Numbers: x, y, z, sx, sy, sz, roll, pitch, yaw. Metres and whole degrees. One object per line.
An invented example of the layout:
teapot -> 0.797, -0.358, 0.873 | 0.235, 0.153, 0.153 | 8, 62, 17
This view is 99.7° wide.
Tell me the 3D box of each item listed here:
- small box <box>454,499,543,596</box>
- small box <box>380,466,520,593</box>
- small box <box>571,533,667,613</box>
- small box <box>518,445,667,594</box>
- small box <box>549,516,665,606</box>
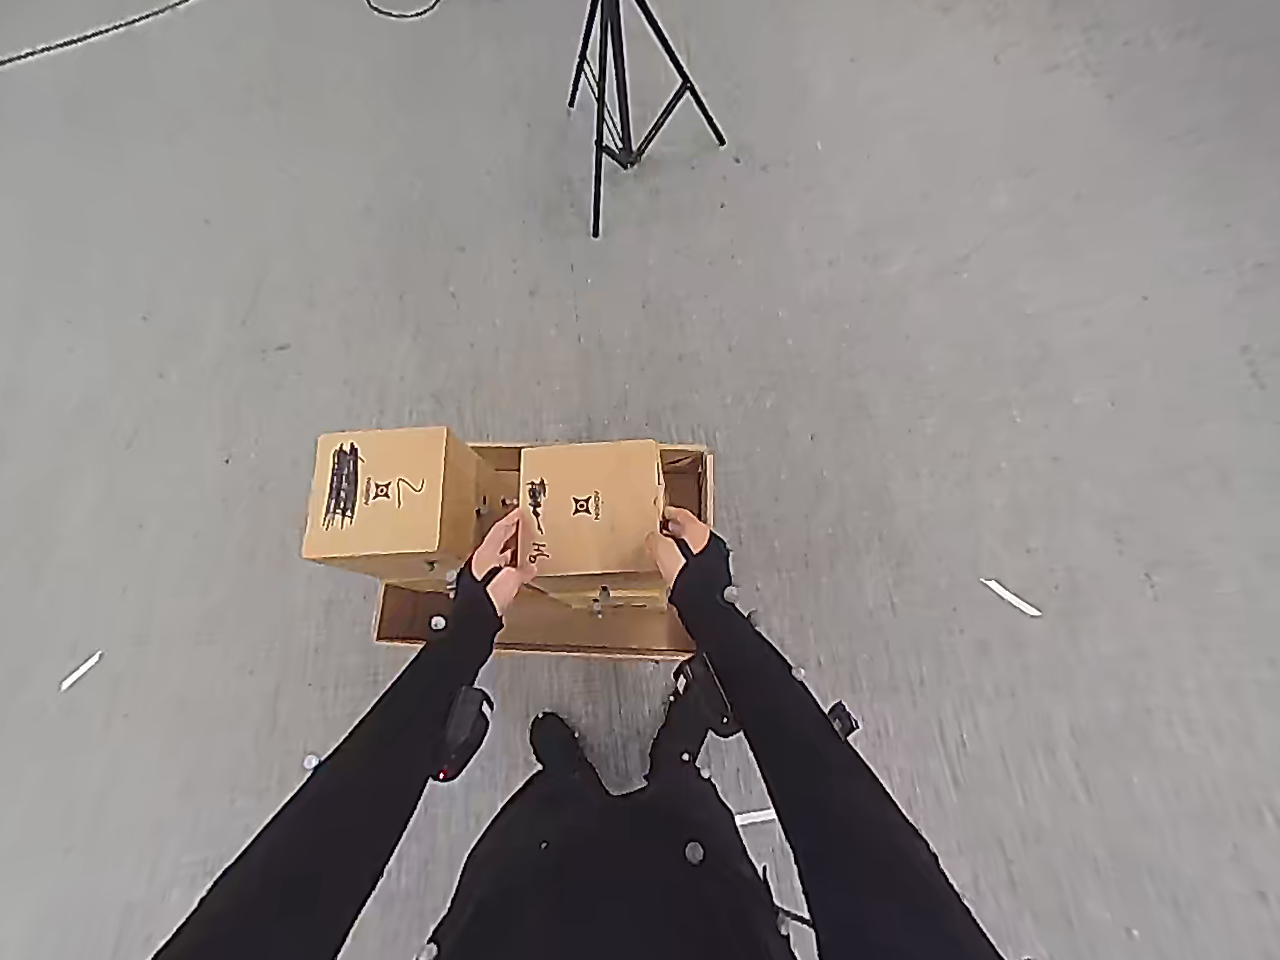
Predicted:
small box -> -0.286, 0.139, 1.062 | 0.179, 0.176, 0.168 | -1, 73, 3
small box -> -0.306, 0.090, 0.906 | 0.168, 0.176, 0.179 | -5, 73, 4
small box -> -0.033, 0.162, 1.038 | 0.168, 0.176, 0.179 | -2, 72, 4
small box -> -0.054, 0.060, 0.729 | 0.179, 0.176, 0.168 | -3, 72, 3
small box -> -0.044, 0.112, 0.884 | 0.168, 0.176, 0.179 | -1, 72, 4
